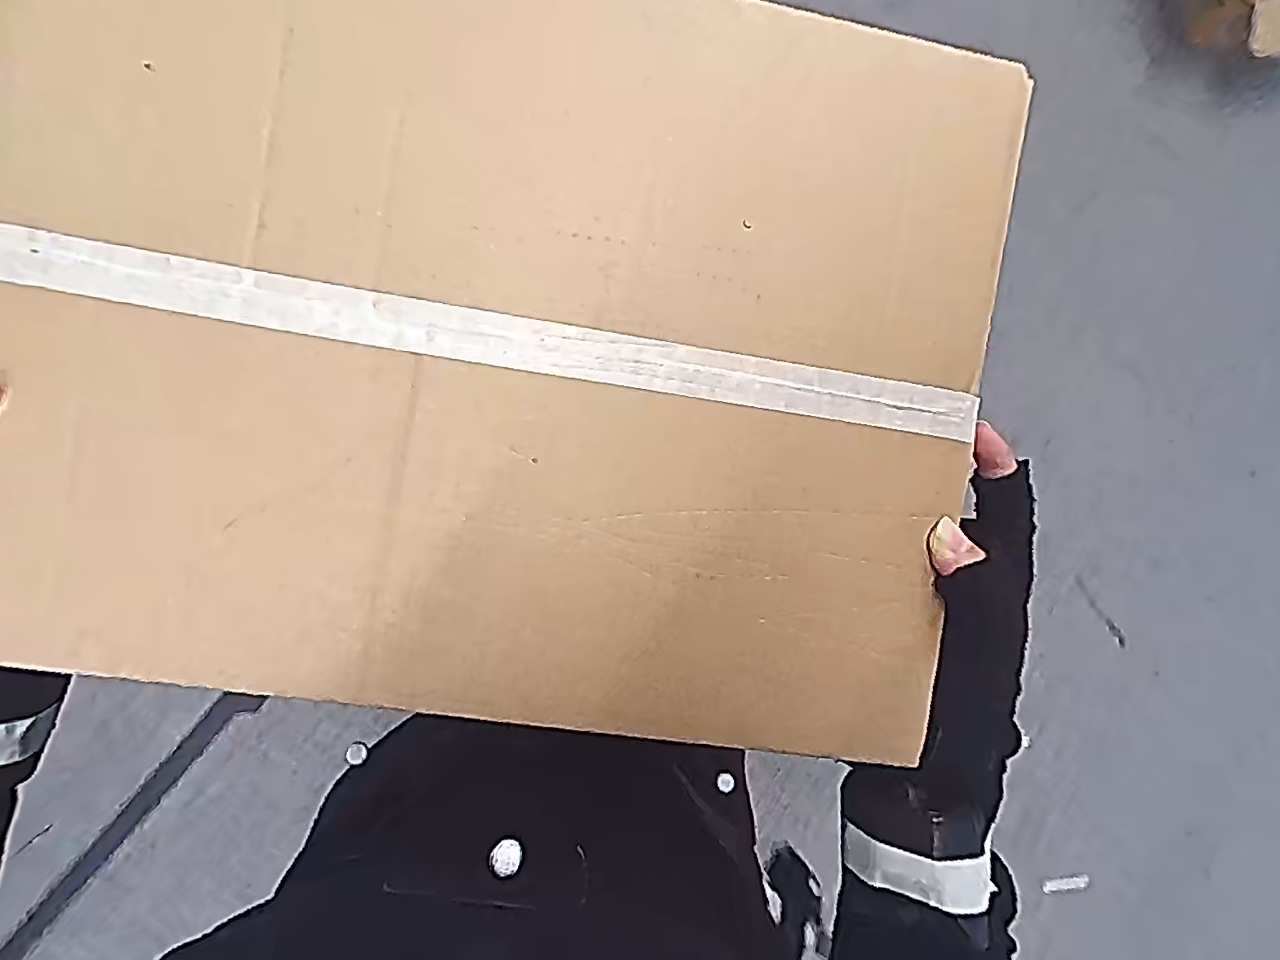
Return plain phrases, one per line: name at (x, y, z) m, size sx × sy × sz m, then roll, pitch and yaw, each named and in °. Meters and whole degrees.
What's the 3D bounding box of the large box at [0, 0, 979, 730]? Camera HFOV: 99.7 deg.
large box at (-0.069, -0.061, 0.382) m, size 0.408 × 0.320 × 0.320 m, roll 8°, pitch 91°, yaw -5°
